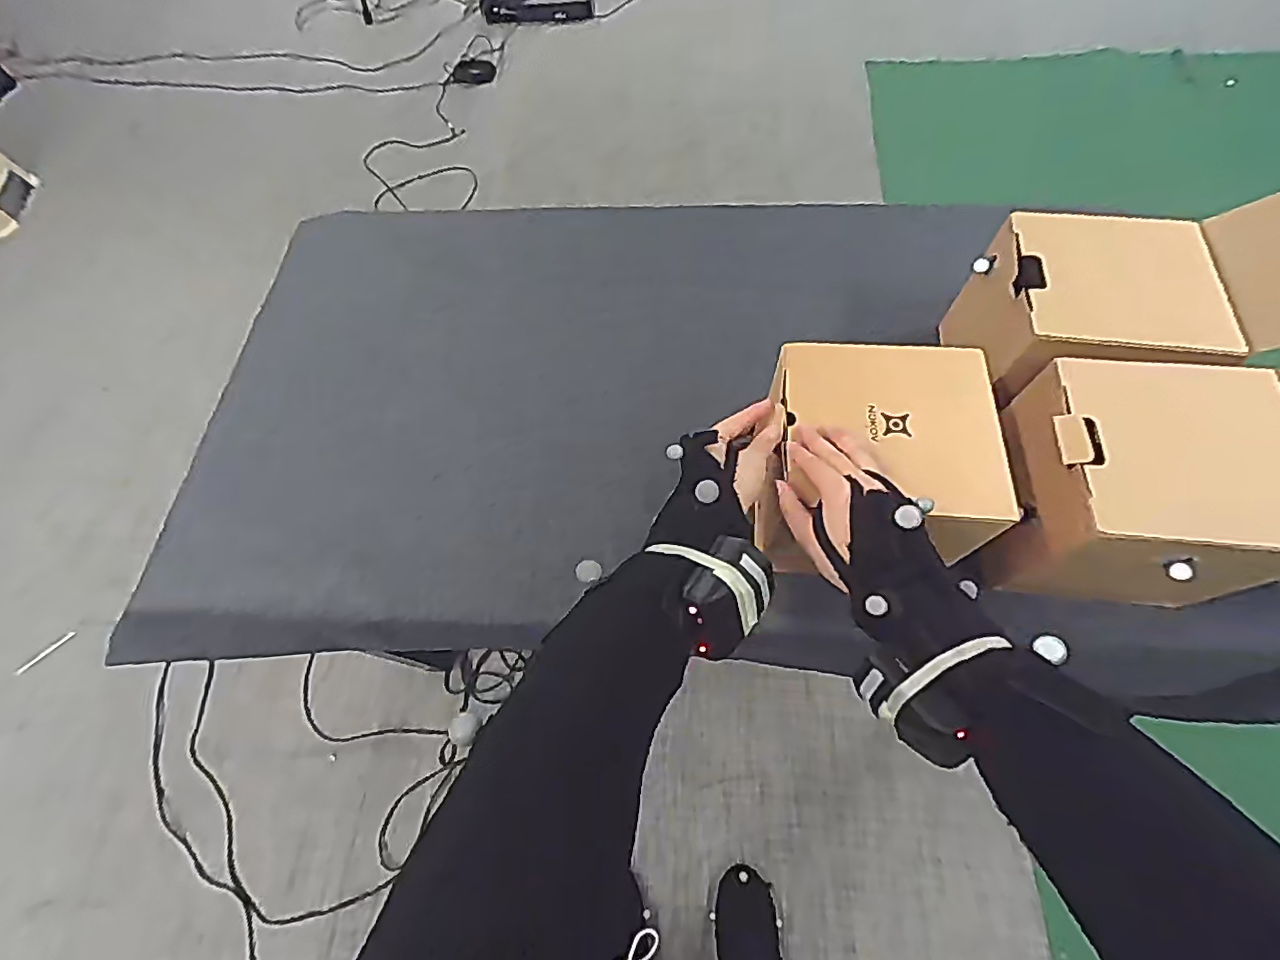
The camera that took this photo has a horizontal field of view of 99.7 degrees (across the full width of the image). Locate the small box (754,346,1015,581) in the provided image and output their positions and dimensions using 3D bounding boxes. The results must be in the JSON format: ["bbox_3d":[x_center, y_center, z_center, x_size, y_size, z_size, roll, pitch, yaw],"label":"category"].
[{"bbox_3d":[0.210,-0.007,0.518,0.179,0.176,0.168,3,64,6],"label":"small box"}]
